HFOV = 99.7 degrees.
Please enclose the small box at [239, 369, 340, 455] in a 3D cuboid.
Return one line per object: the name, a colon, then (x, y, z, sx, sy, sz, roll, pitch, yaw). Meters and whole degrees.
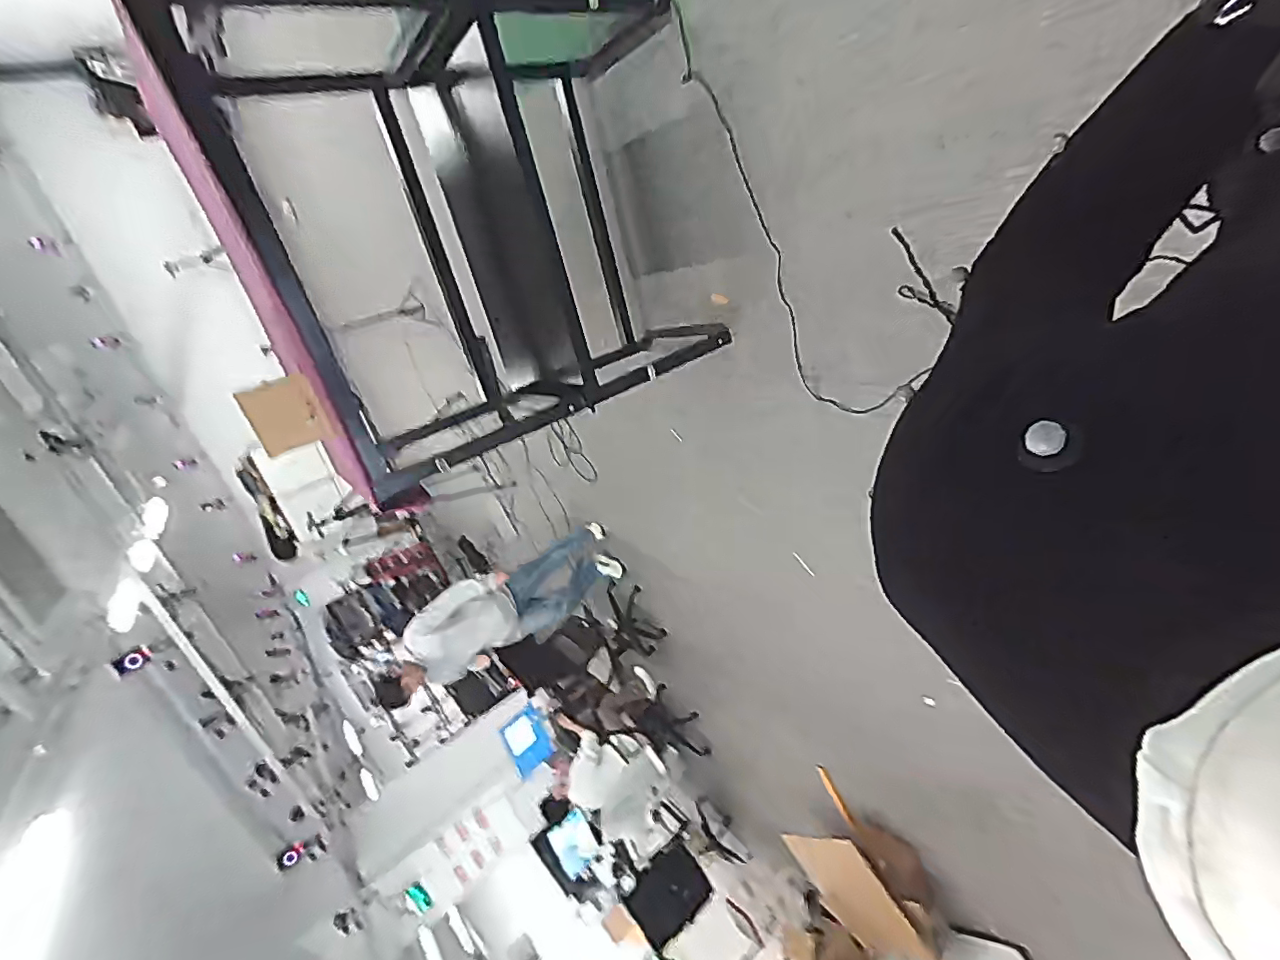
small box: (-0.924, -0.188, 1.433, 0.179, 0.176, 0.168, 21, 133, 49)
